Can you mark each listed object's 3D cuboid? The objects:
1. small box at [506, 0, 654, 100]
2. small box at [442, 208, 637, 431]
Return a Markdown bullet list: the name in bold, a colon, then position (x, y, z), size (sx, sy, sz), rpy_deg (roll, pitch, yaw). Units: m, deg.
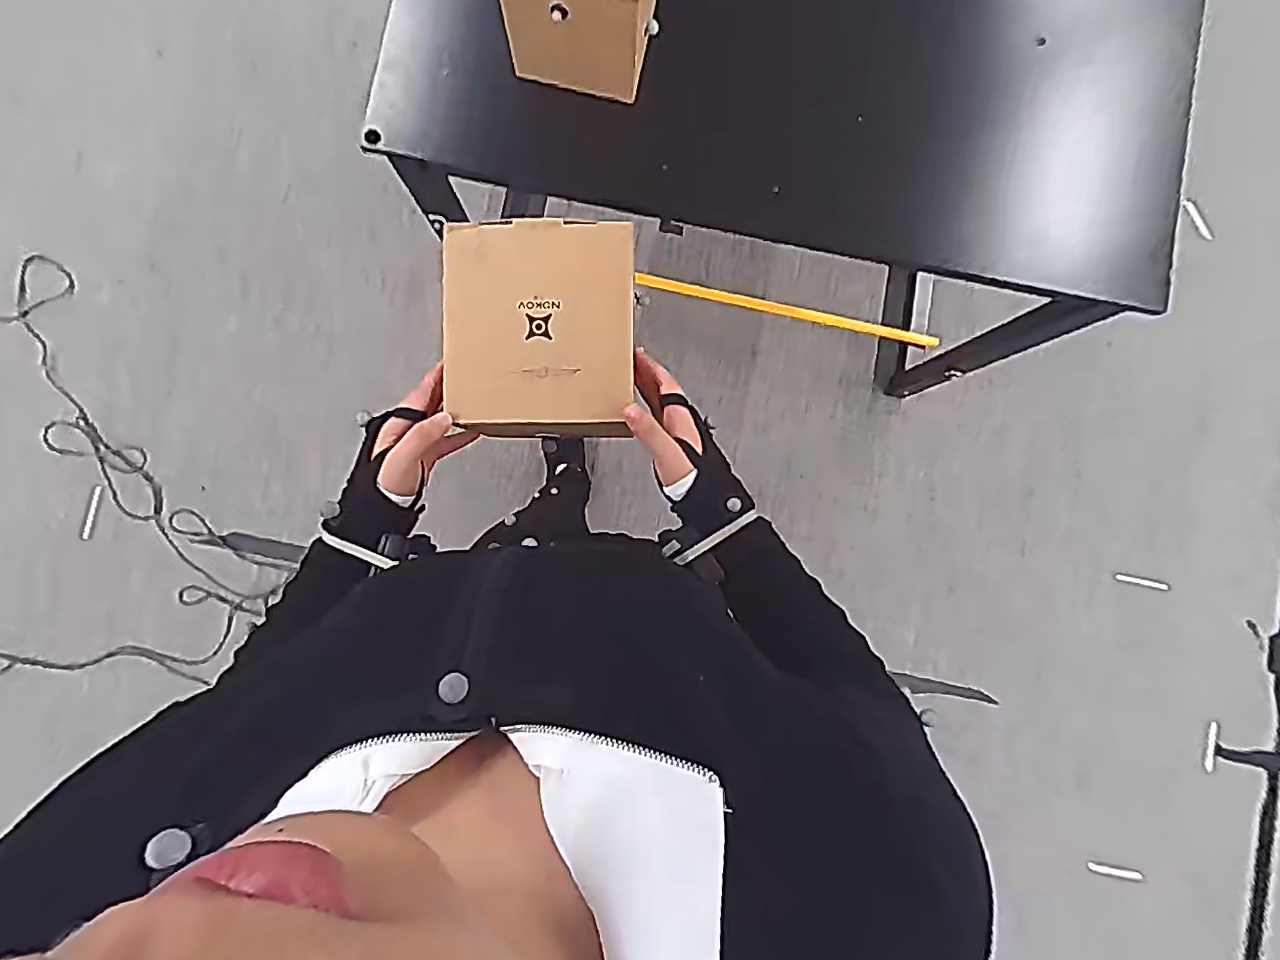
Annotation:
- **small box**: position (-0.076, -0.650, 0.716), size (0.179, 0.176, 0.168), rpy_deg (12, 86, -3)
- **small box**: position (-0.088, -0.146, 0.545), size (0.168, 0.176, 0.179), rpy_deg (0, 90, 0)
